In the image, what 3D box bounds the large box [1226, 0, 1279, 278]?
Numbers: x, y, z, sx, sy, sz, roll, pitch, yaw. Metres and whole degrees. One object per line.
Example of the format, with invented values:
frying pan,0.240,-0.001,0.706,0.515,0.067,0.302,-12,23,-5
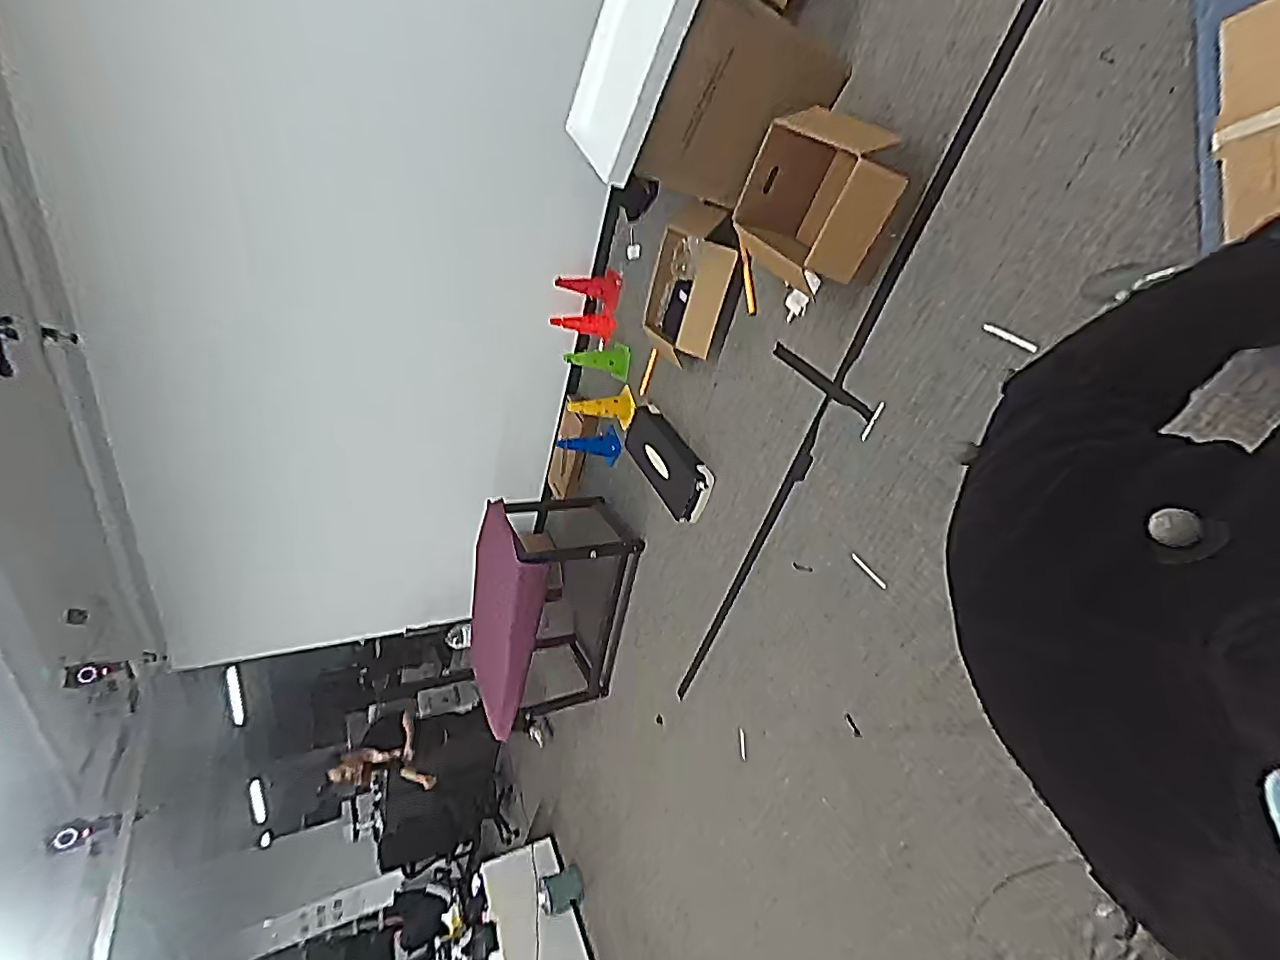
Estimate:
large box,1.028,-0.472,0.641,0.408,0.320,0.320,-2,91,58
